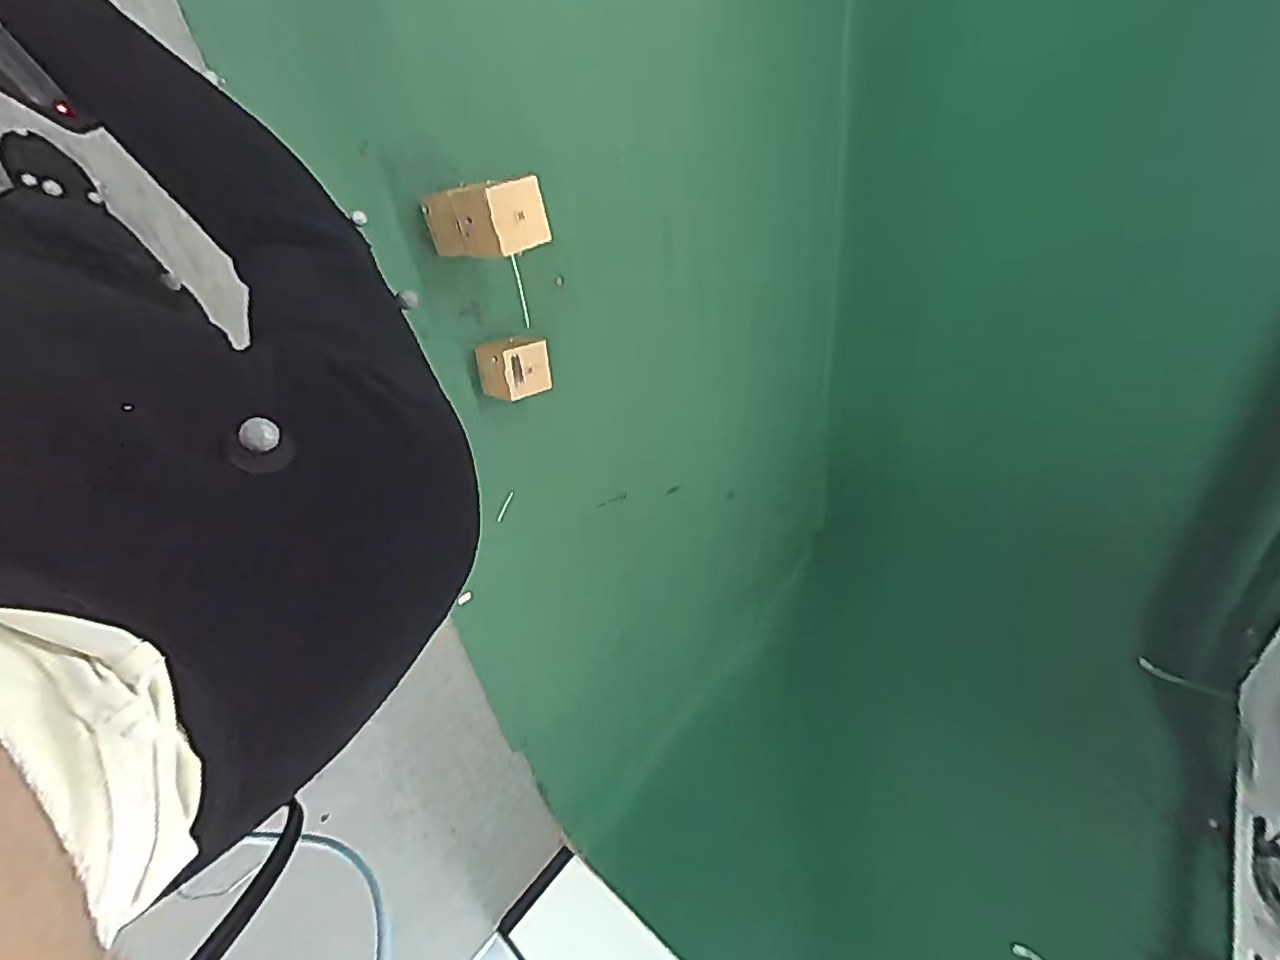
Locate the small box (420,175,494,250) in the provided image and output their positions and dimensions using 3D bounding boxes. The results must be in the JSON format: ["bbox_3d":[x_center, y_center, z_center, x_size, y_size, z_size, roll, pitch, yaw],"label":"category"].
[{"bbox_3d":[-0.516,-0.778,1.580,0.179,0.176,0.168,-38,132,-35],"label":"small box"}]

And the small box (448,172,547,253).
[{"bbox_3d":[-0.390,-0.737,1.486,0.179,0.176,0.168,-38,132,-33],"label":"small box"}]
